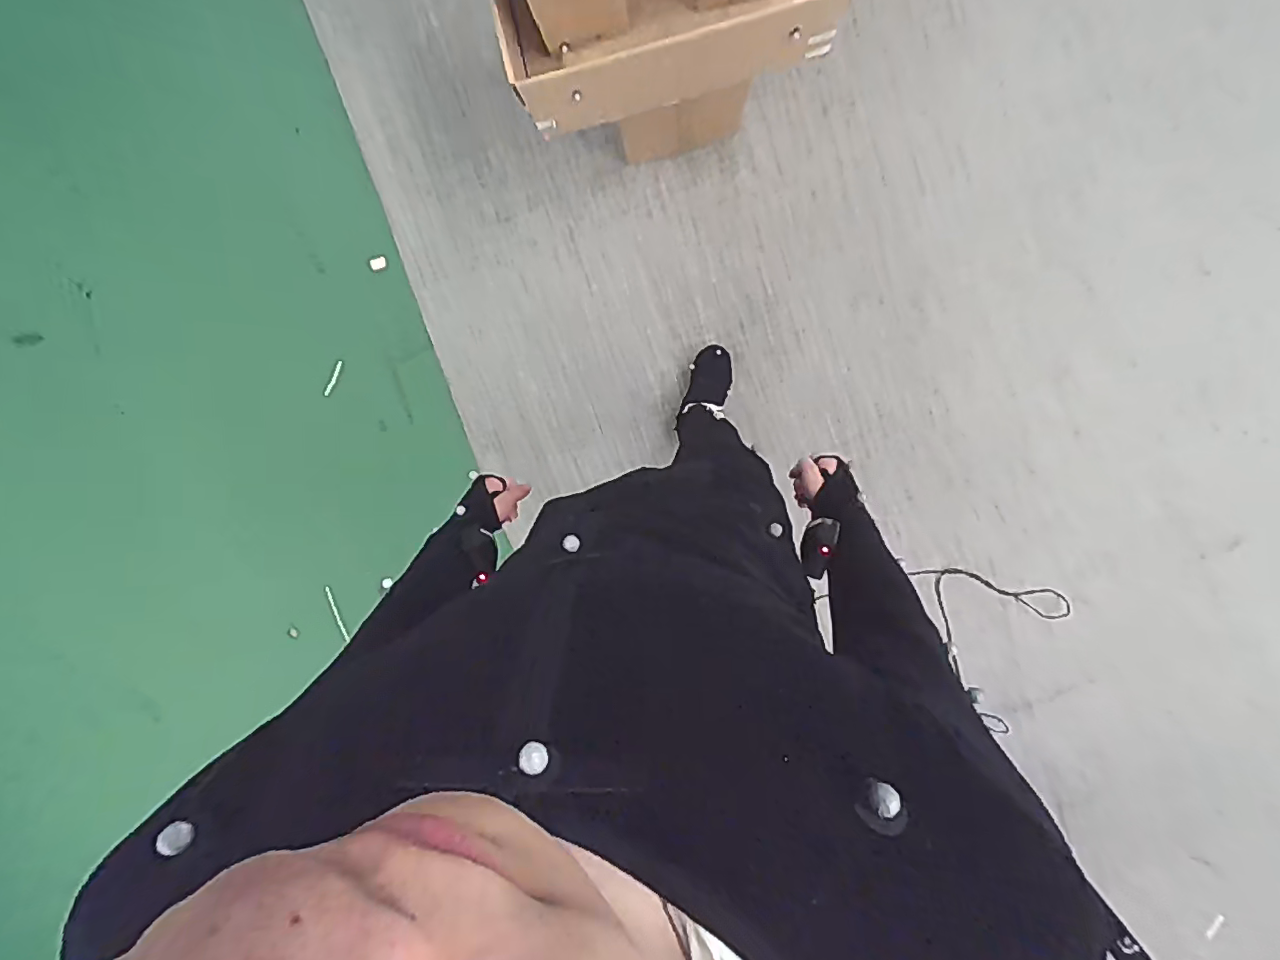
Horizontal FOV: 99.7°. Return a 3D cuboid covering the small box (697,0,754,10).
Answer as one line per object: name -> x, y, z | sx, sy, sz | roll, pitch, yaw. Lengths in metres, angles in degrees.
small box -> 0.169, -0.973, 0.929 | 0.168, 0.176, 0.179 | -7, 99, 7
